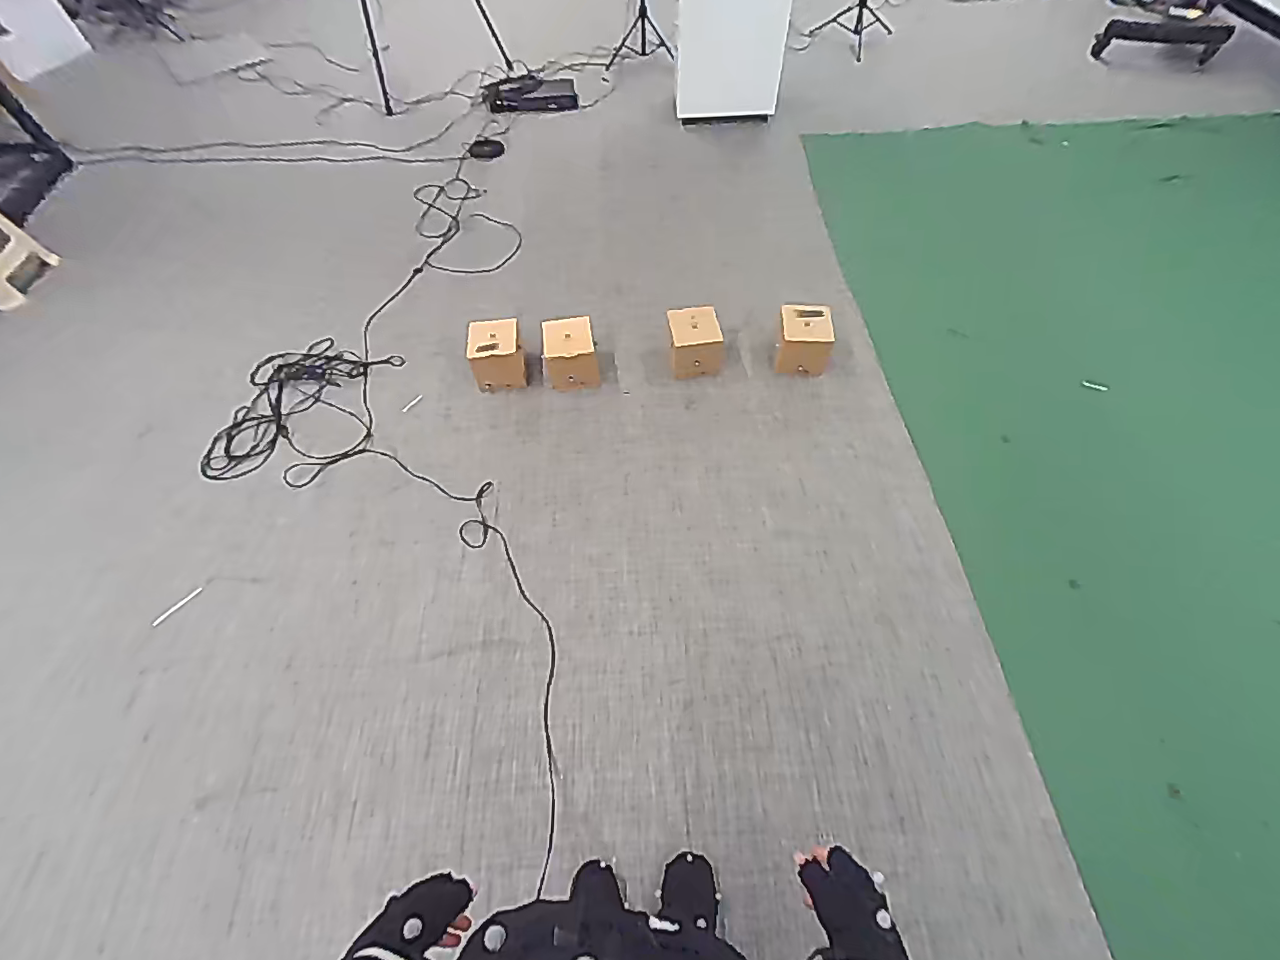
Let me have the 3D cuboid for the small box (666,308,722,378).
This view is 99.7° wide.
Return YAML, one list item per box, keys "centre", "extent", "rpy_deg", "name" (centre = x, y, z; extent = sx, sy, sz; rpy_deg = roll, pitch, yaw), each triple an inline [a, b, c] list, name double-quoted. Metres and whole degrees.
- centre: [0.184, -0.473, 1.895]
  extent: [0.168, 0.176, 0.179]
  rpy_deg: [-7, 59, -4]
  name: "small box"

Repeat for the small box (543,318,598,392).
- centre: [-0.240, -0.434, 1.884]
  extent: [0.168, 0.176, 0.179]
  rpy_deg: [-9, 59, -3]
  name: "small box"

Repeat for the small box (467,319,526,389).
- centre: [-0.496, -0.432, 1.890]
  extent: [0.168, 0.176, 0.179]
  rpy_deg: [-6, 57, -2]
  name: "small box"
